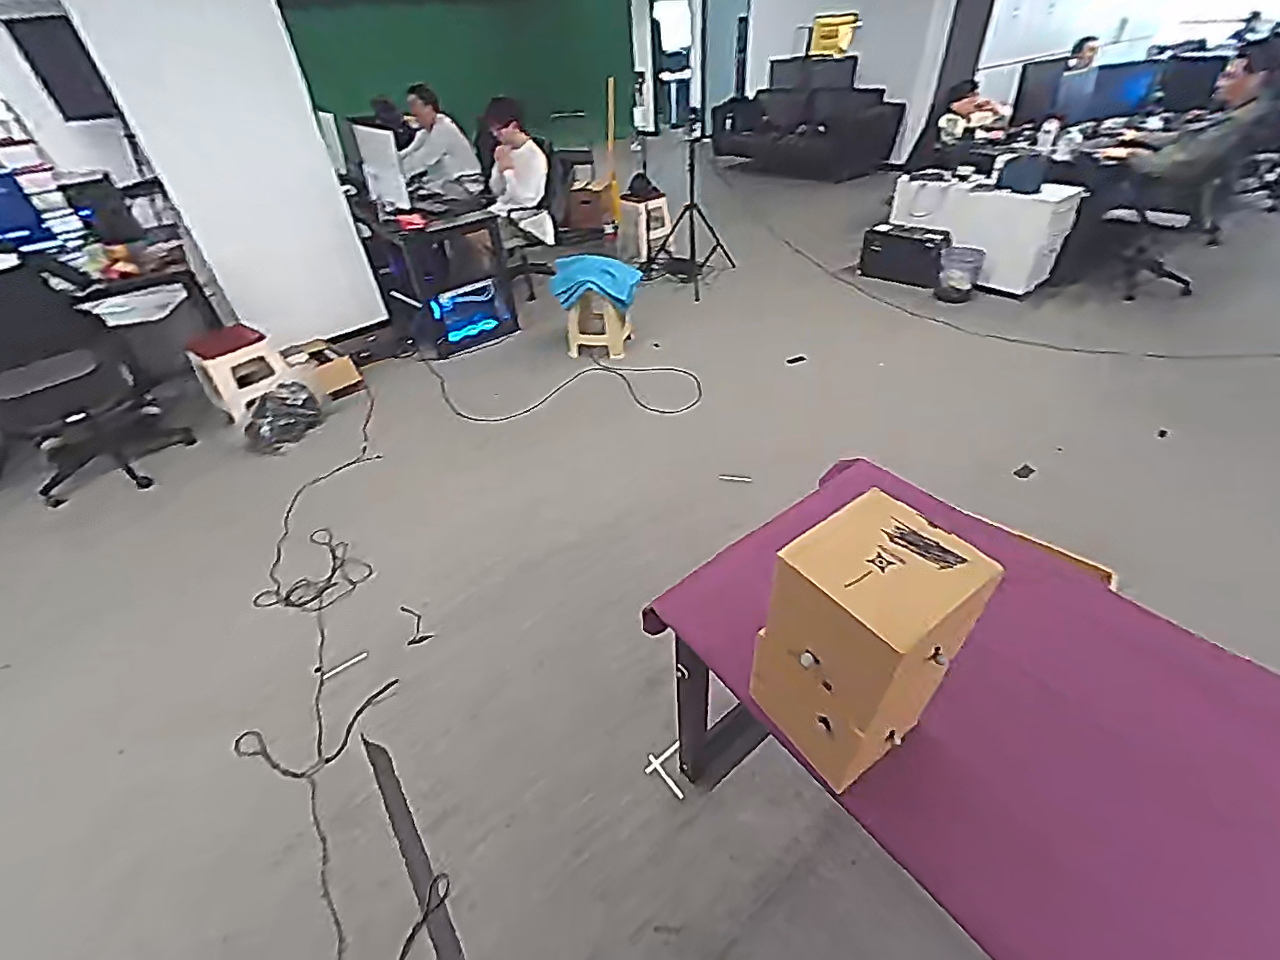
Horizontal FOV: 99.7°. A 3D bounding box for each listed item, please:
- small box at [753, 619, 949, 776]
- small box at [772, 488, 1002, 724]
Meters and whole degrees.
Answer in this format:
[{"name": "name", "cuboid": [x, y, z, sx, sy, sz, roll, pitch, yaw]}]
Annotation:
[{"name": "small box", "cuboid": [0.277, 0.274, 0.747, 0.168, 0.176, 0.179, -25, 44, -23]}, {"name": "small box", "cuboid": [0.275, 0.146, 0.643, 0.179, 0.176, 0.168, -27, 45, -23]}]
